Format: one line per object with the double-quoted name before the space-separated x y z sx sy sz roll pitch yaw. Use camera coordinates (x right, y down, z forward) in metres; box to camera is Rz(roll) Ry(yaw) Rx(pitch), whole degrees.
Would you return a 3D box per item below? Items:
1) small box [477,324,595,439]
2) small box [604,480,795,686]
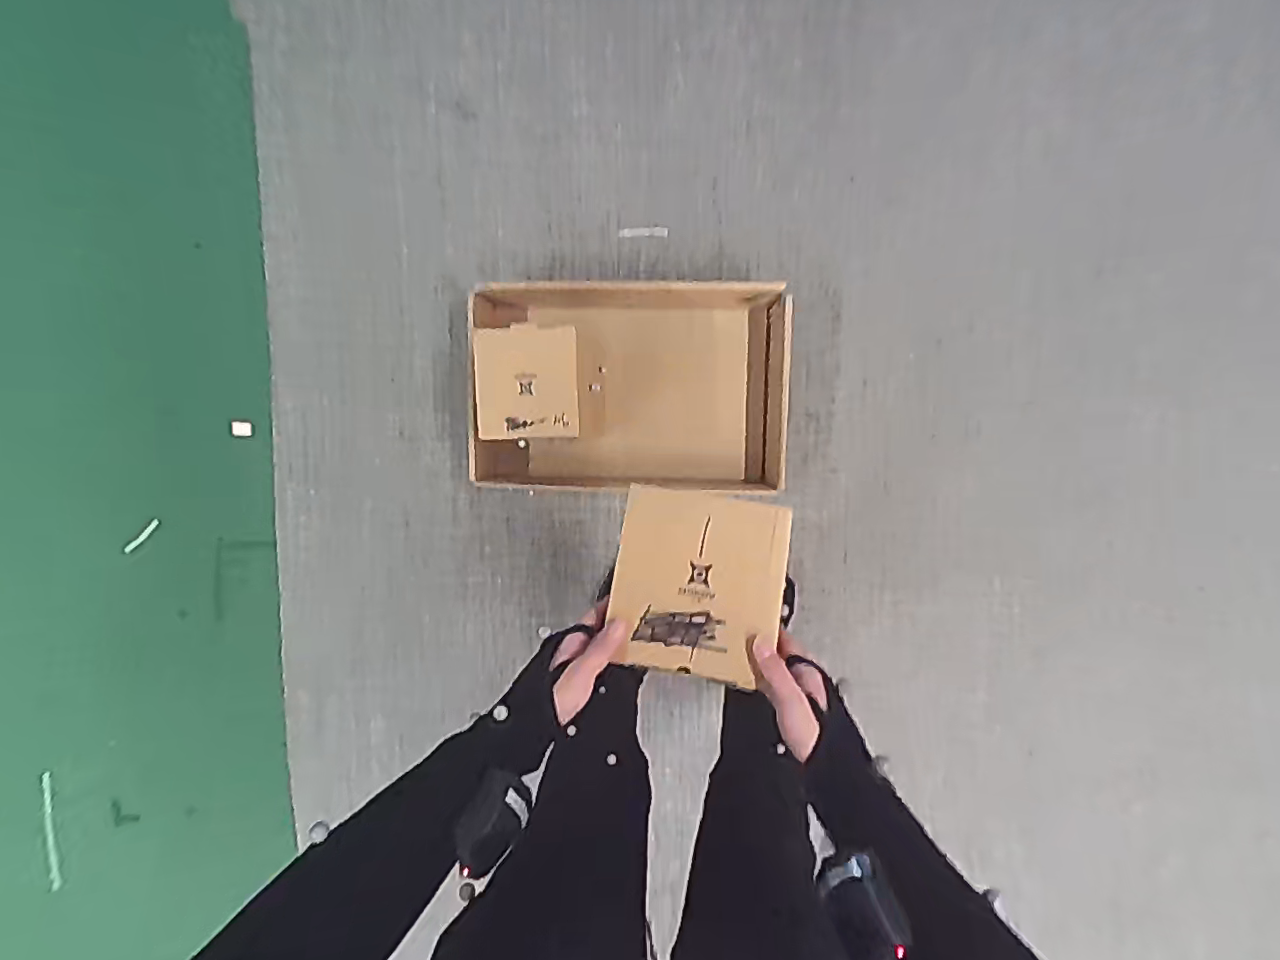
"small box" -0.171 -0.161 0.927 0.168 0.176 0.179 -1 94 3
"small box" 0.067 0.111 0.605 0.168 0.176 0.179 9 80 7
